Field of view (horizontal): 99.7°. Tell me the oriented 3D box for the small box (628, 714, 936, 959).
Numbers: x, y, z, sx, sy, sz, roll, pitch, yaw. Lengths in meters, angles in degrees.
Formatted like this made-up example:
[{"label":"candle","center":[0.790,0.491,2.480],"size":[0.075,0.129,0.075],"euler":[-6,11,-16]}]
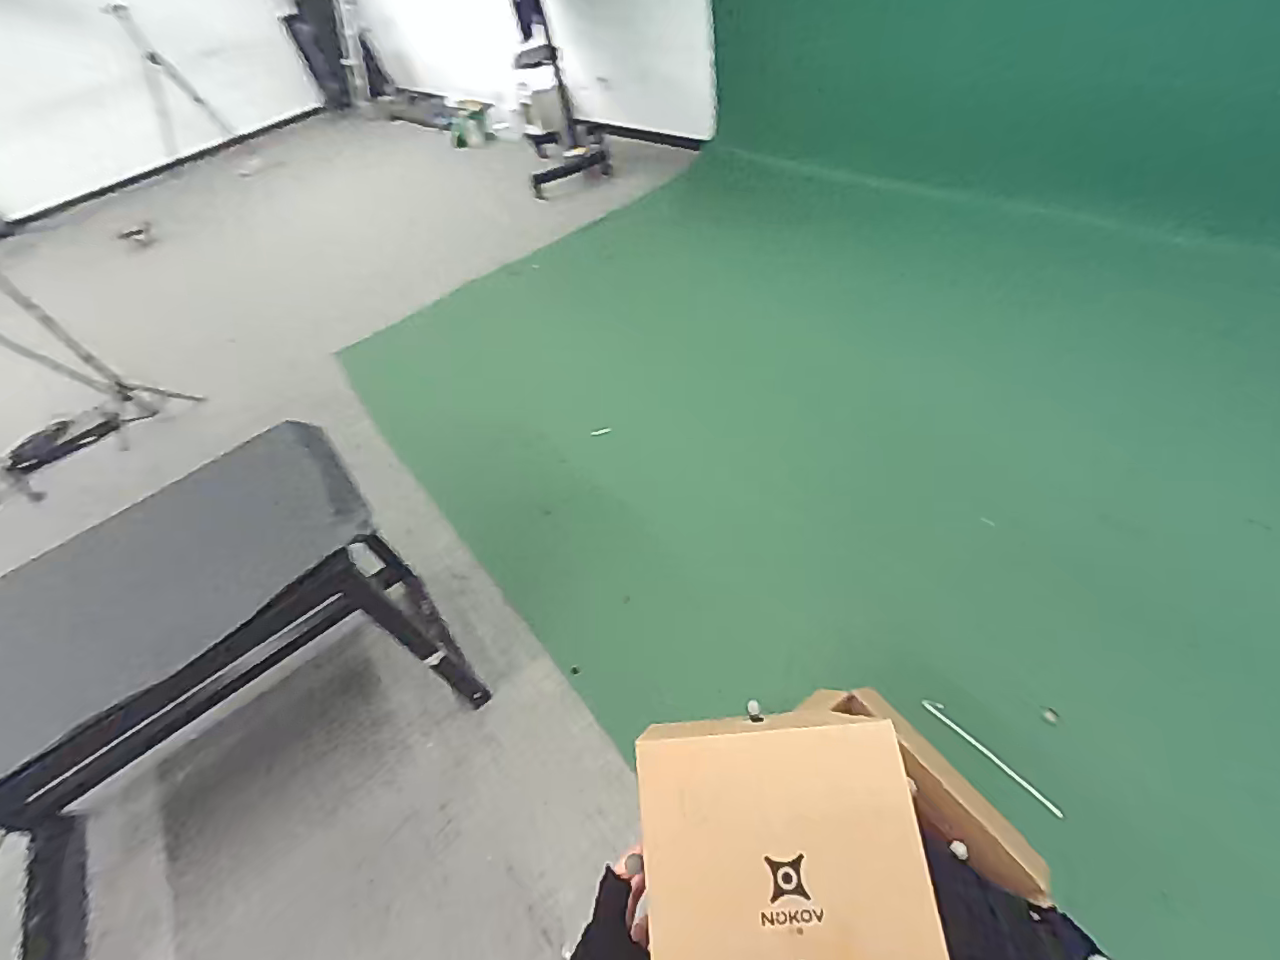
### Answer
[{"label":"small box","center":[0.083,0.267,0.385],"size":[0.168,0.176,0.179],"euler":[-6,68,2]}]
